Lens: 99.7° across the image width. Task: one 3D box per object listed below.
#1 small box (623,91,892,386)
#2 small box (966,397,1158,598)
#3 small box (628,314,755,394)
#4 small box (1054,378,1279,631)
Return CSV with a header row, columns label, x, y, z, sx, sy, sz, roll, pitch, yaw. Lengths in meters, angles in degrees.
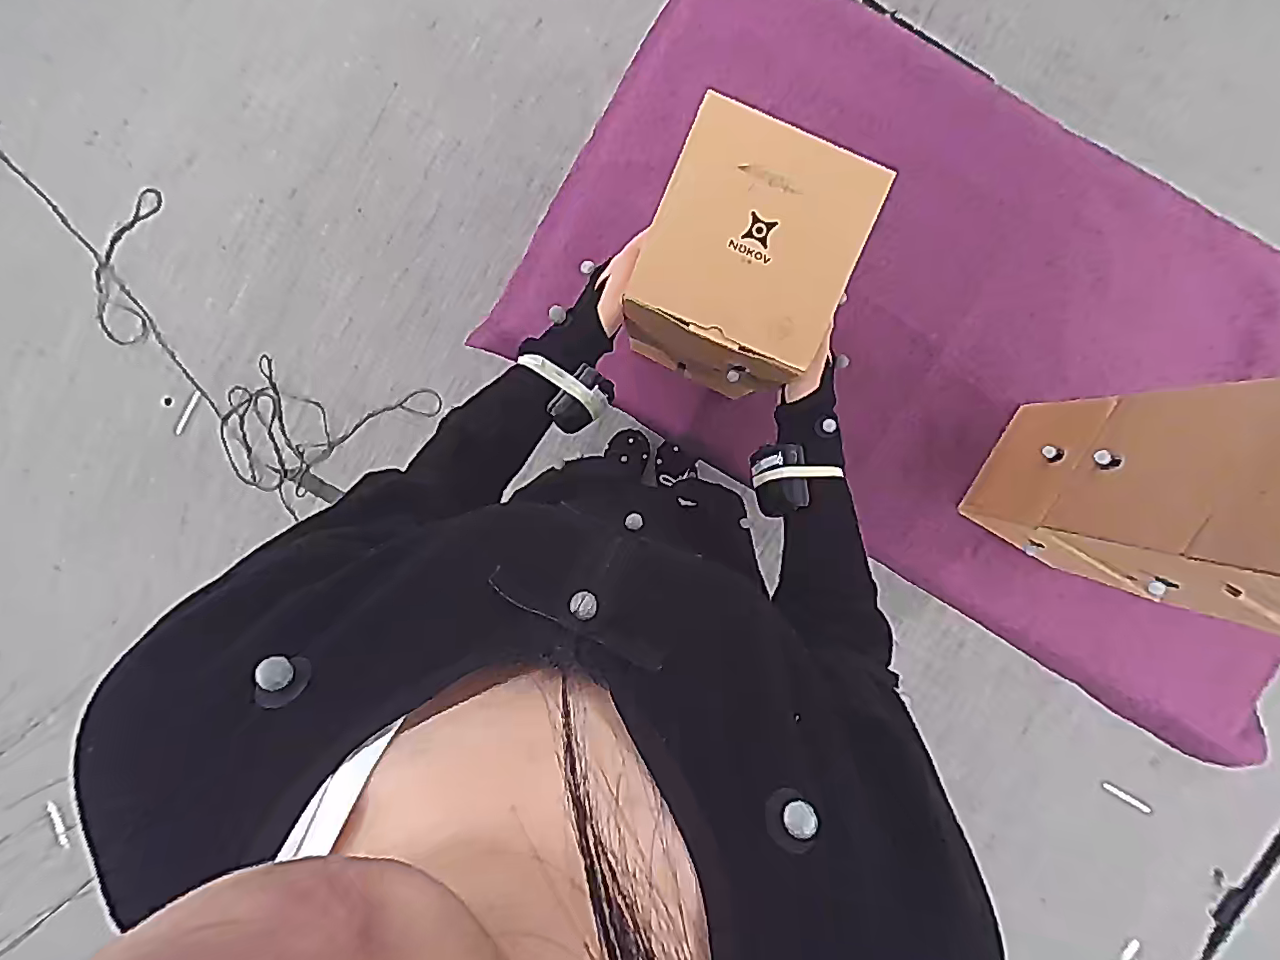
label,x,y,z,sx,sy,sz,roll,pitch,yaw
small box,0.095,-0.203,0.513,0.168,0.176,0.179,23,93,-2
small box,0.560,0.017,0.688,0.168,0.176,0.179,30,93,-1
small box,0.098,-0.221,0.675,0.168,0.176,0.179,26,93,-2
small box,0.559,0.024,0.524,0.168,0.176,0.179,31,94,-1
